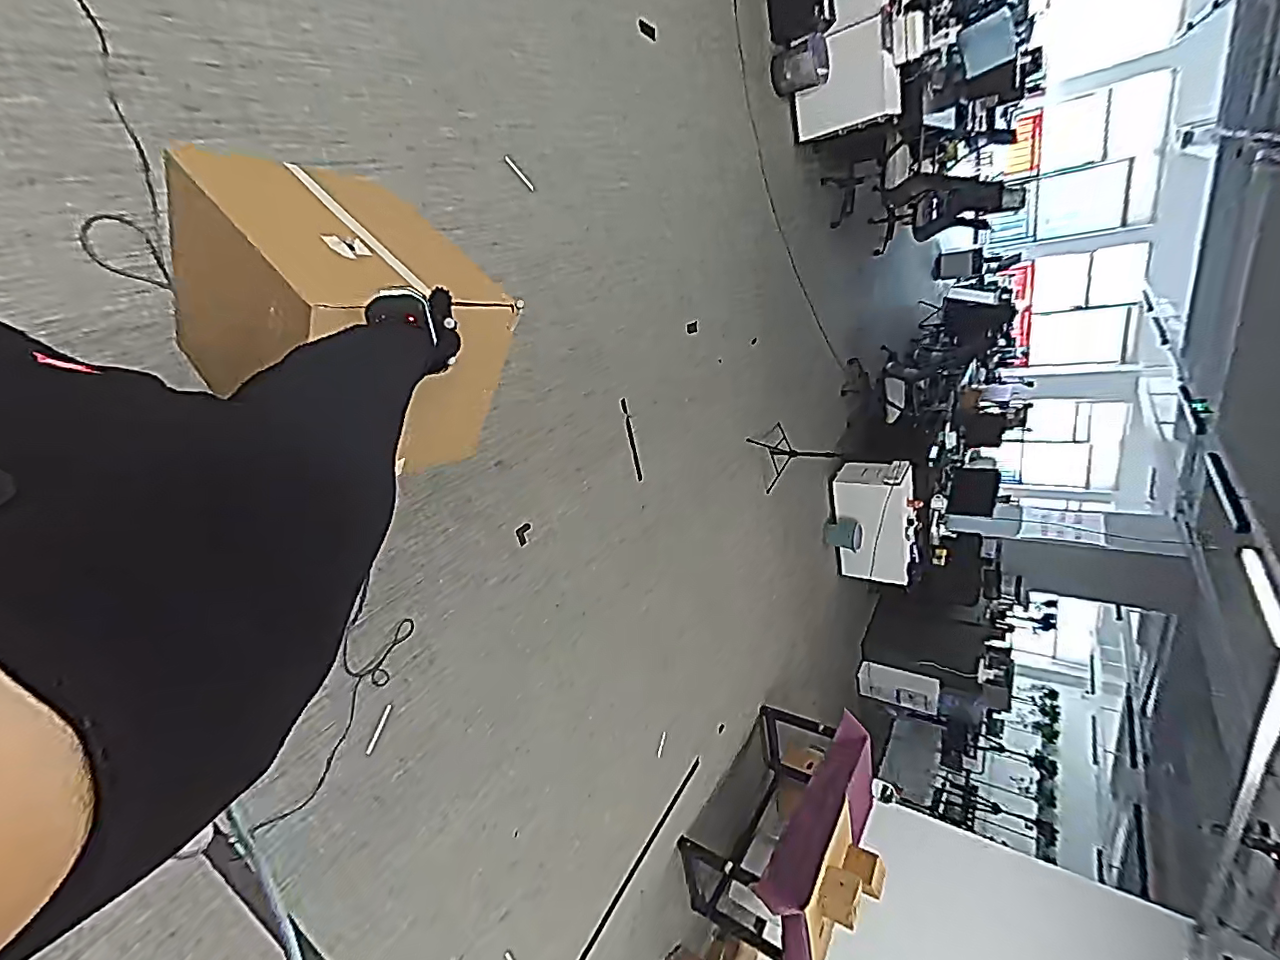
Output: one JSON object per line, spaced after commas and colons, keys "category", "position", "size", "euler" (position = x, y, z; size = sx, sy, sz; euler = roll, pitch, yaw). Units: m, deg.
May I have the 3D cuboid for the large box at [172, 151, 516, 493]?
{"category": "large box", "position": [-0.485, -0.249, 0.879], "size": [0.320, 0.408, 0.320], "euler": [-23, 152, -51]}
